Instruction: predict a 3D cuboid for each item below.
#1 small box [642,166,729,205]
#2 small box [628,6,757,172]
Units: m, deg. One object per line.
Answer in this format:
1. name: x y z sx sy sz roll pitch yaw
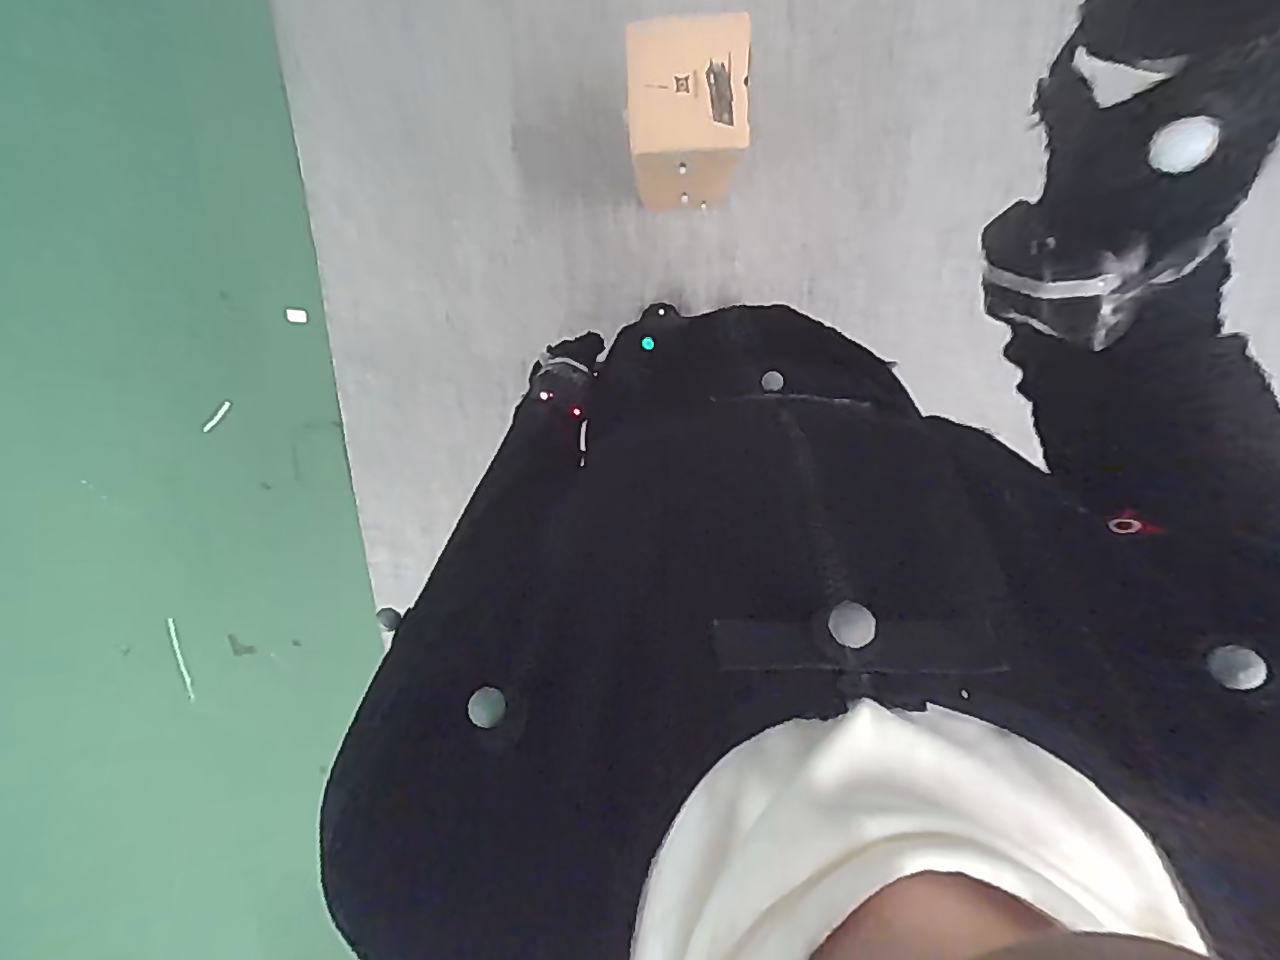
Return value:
1. small box: 0.095 -0.694 1.154 0.179 0.176 0.168 0 107 5
2. small box: 0.074 -0.592 0.839 0.179 0.176 0.168 2 106 2
